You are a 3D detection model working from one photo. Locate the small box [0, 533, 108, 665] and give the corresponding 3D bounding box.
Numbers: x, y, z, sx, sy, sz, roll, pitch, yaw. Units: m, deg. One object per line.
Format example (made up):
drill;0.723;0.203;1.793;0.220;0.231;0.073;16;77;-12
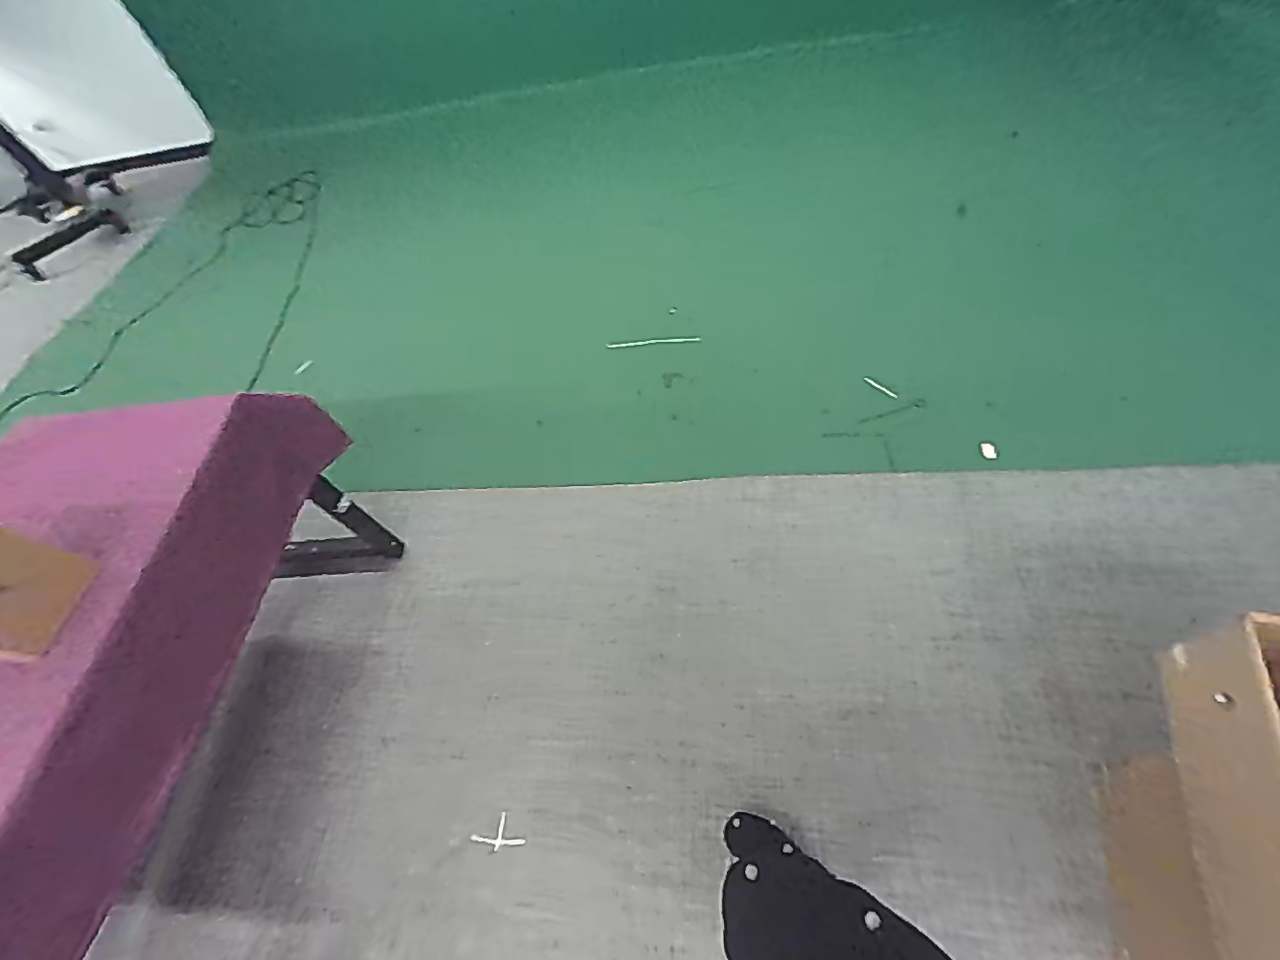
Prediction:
small box;-1.077;0.203;0.912;0.168;0.176;0.179;-1;57;12
